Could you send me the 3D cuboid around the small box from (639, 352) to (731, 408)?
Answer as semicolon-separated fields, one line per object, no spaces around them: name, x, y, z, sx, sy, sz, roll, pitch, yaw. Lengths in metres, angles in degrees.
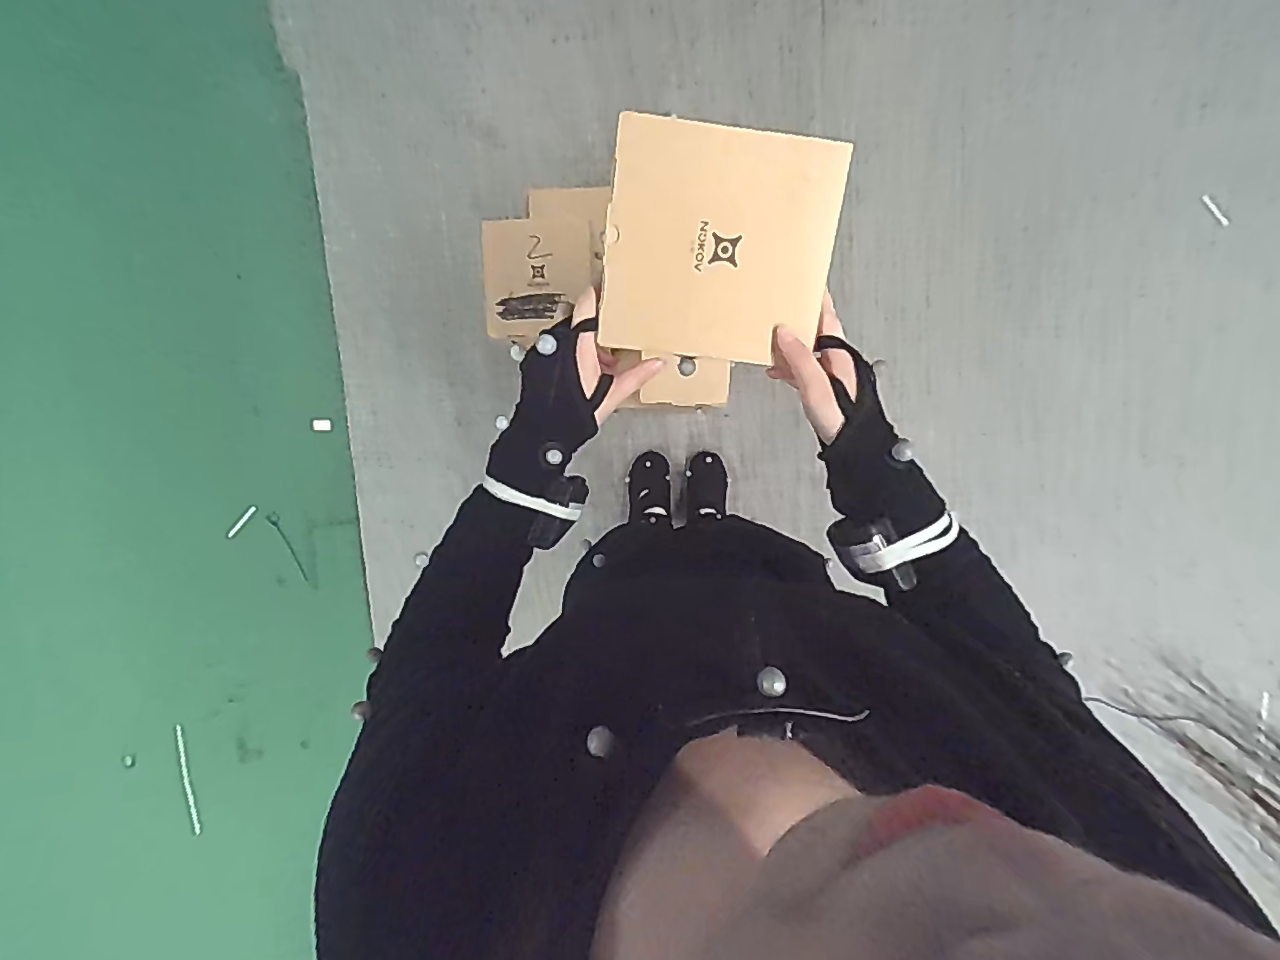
small box;0.087;-0.233;1.064;0.168;0.176;0.179;3;95;0

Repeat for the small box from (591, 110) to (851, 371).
small box;0.057;-0.196;0.482;0.179;0.176;0.168;6;105;-1

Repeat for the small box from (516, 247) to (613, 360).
small box;-0.138;-0.338;1.061;0.168;0.176;0.179;3;95;3
